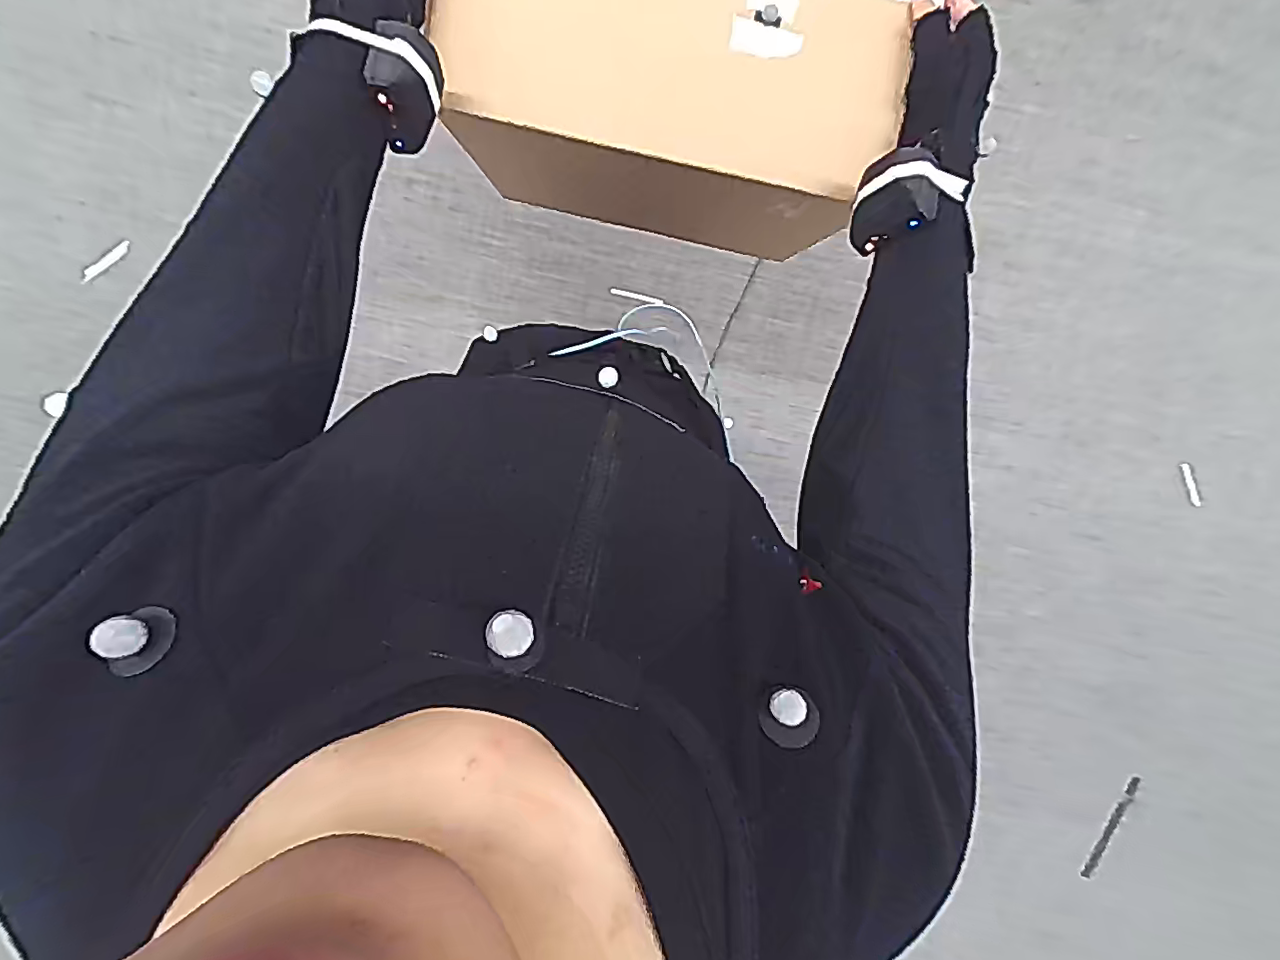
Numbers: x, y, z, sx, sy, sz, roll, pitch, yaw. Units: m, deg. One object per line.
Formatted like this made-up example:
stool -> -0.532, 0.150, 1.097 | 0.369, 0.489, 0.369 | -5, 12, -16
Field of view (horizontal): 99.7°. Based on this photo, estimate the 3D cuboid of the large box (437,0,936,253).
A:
large box -> 0.044, -0.465, 0.578 | 0.408, 0.320, 0.320 | 11, 105, -5
